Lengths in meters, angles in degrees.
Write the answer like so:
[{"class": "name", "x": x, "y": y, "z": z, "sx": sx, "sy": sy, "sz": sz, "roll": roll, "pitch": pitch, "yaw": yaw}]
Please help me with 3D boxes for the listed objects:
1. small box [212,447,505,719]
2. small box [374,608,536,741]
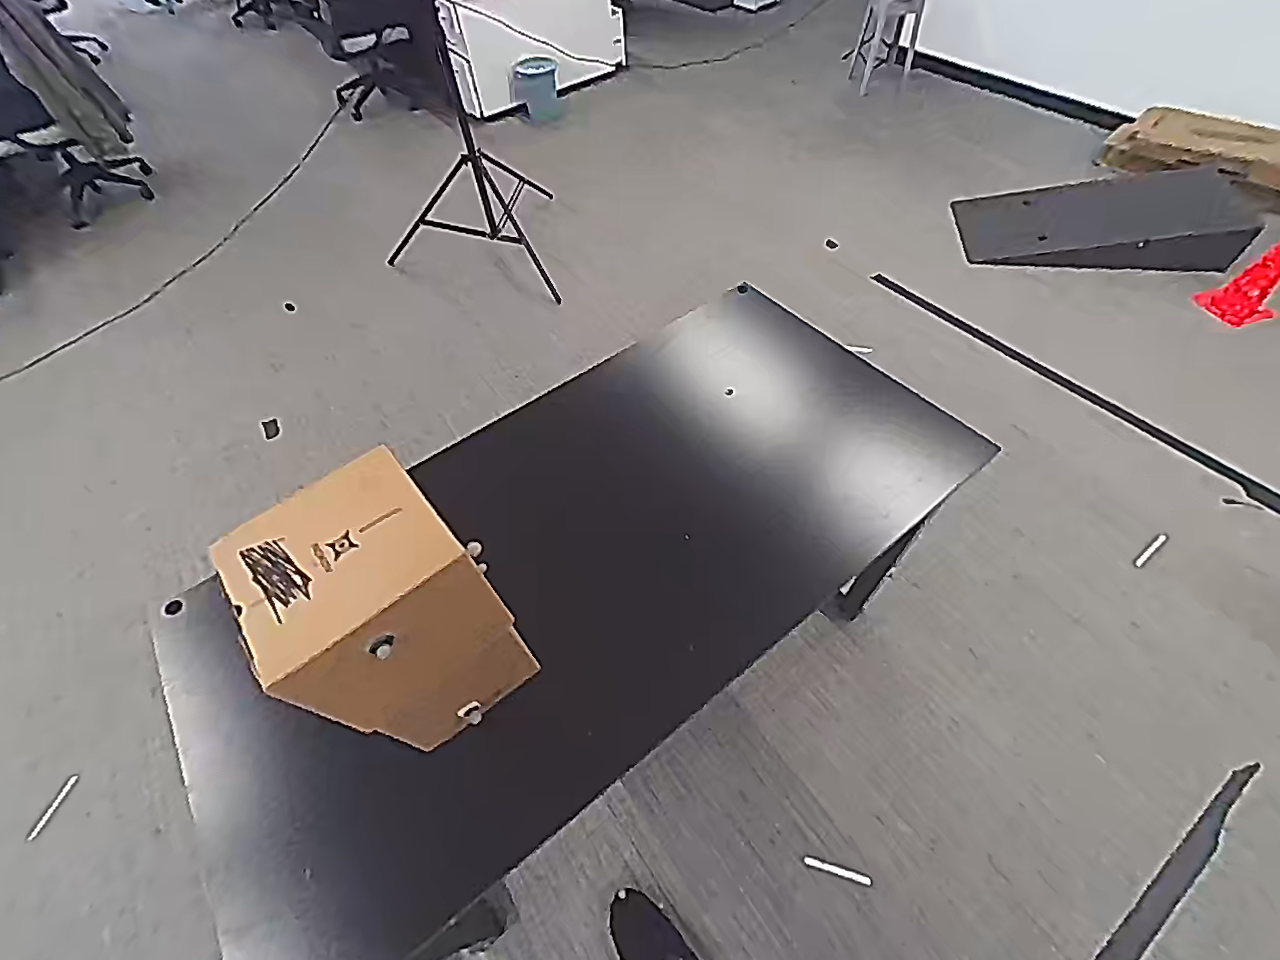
[{"class": "small box", "x": -0.264, "y": 0.107, "z": 0.542, "sx": 0.179, "sy": 0.176, "sz": 0.168, "roll": -36, "pitch": 60, "yaw": -19}, {"class": "small box", "x": -0.256, "y": 0.196, "z": 0.680, "sx": 0.168, "sy": 0.176, "sz": 0.179, "roll": -35, "pitch": 61, "yaw": -18}]
